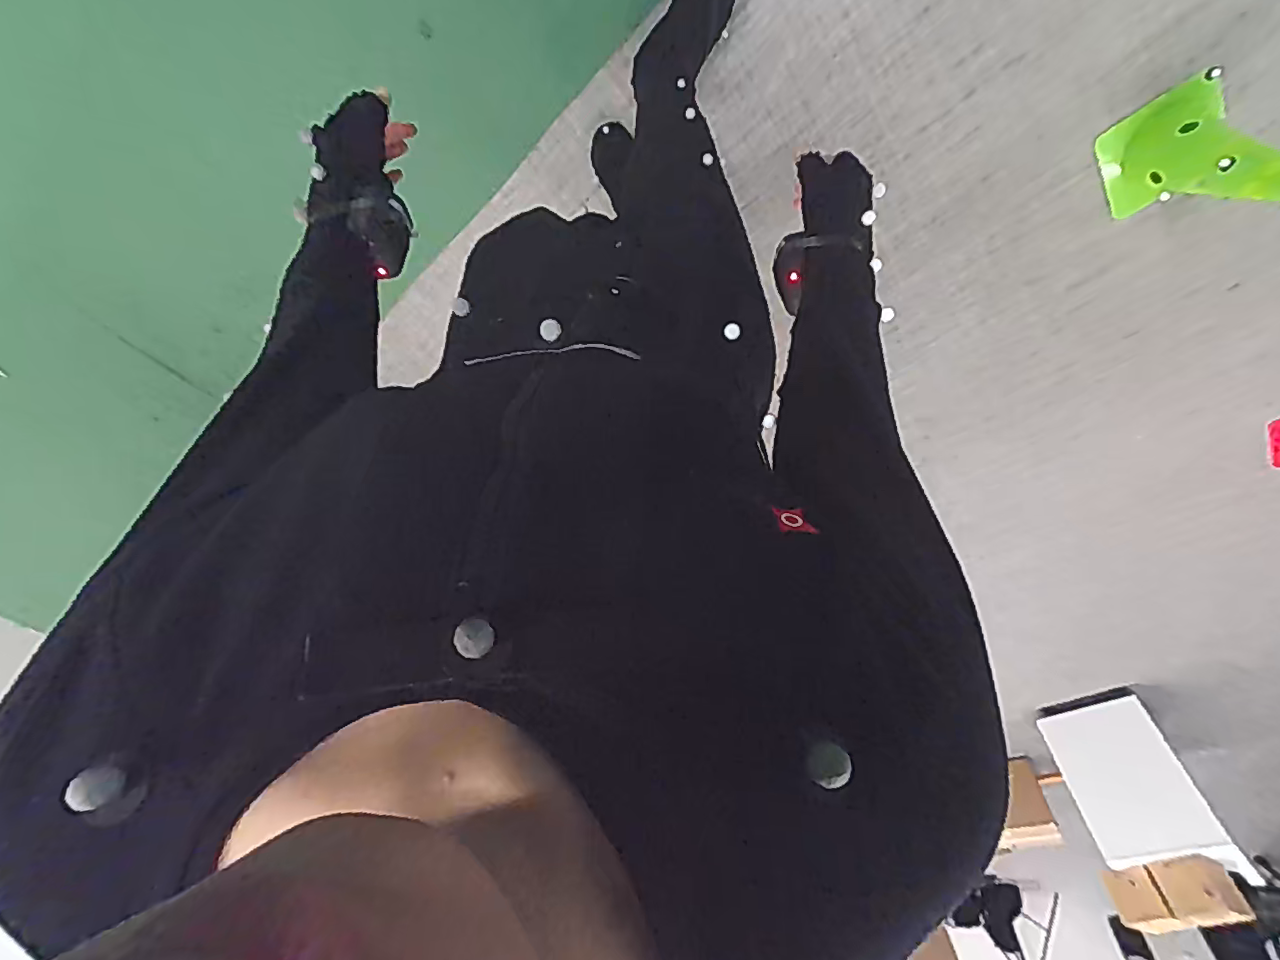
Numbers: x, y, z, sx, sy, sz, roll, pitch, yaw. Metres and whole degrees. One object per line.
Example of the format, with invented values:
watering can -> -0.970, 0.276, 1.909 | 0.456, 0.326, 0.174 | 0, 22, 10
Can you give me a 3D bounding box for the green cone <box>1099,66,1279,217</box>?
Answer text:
green cone -> 1.026, -0.545, 0.938 | 0.200, 0.368, 0.202 | -32, 122, 28
